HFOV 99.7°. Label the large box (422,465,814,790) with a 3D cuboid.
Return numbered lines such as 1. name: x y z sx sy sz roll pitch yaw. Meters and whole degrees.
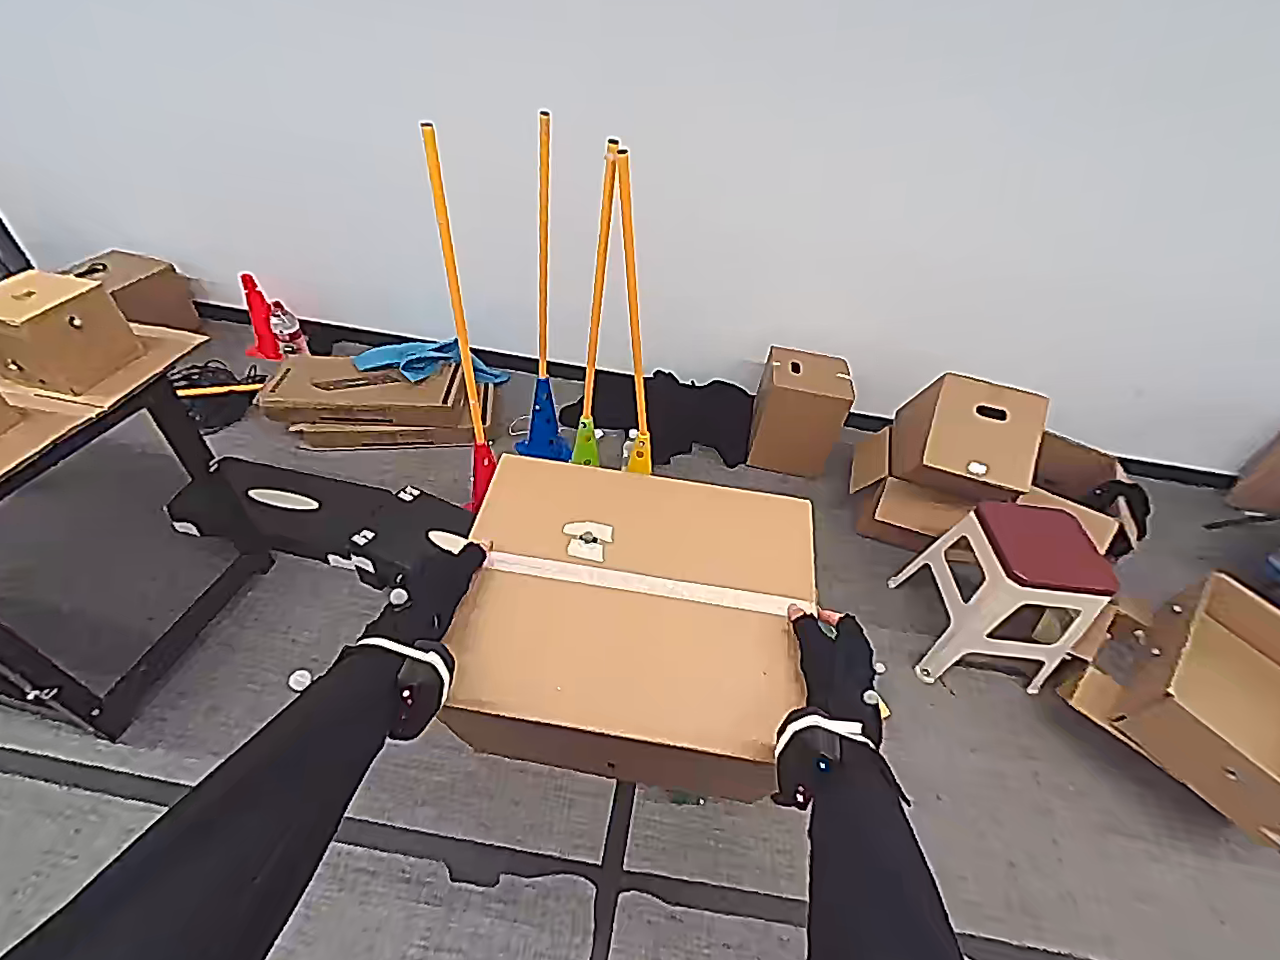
1. large box: -0.010 0.213 0.743 0.408 0.320 0.320 8 54 3
